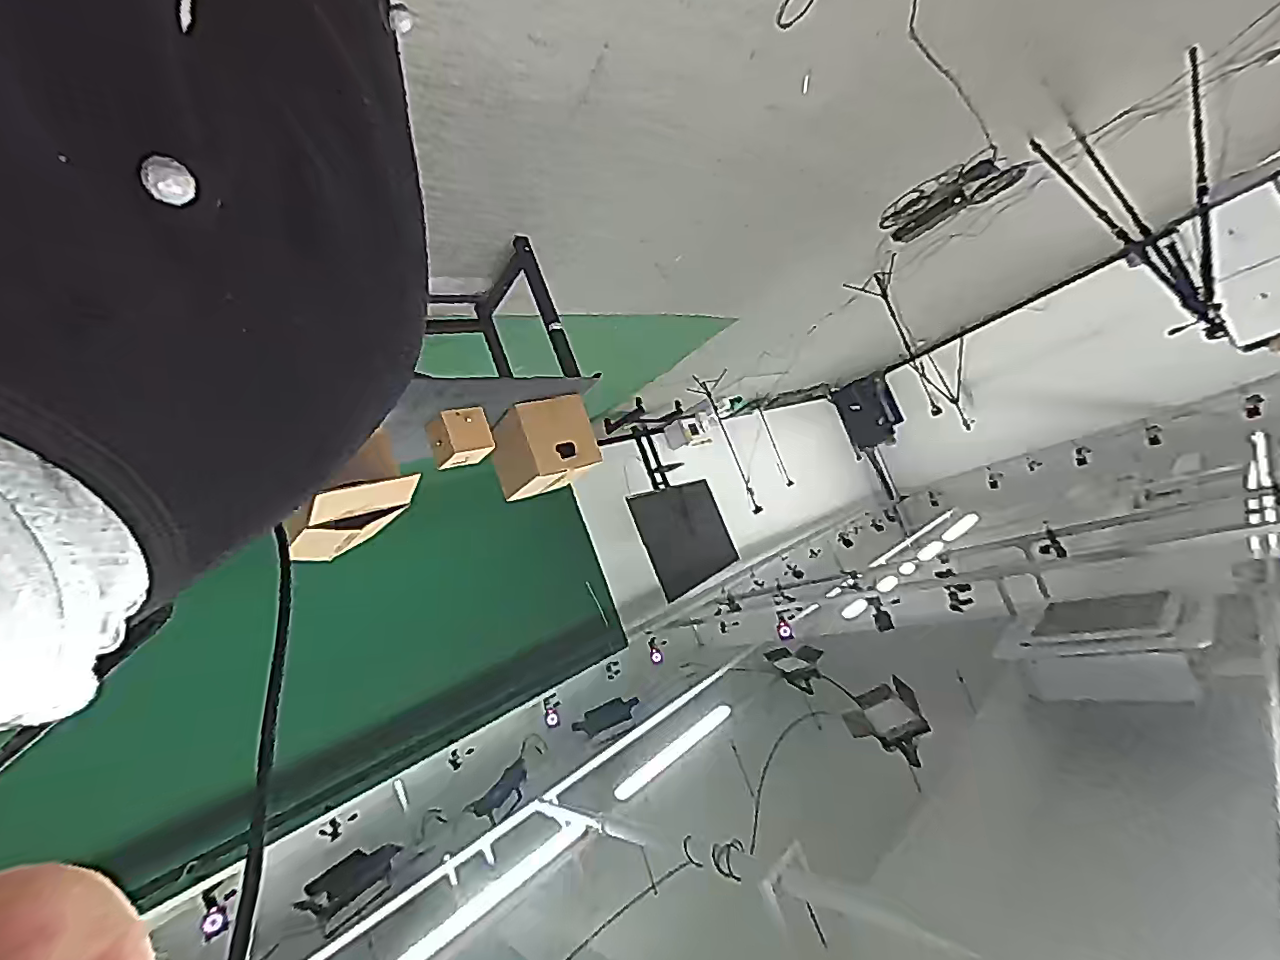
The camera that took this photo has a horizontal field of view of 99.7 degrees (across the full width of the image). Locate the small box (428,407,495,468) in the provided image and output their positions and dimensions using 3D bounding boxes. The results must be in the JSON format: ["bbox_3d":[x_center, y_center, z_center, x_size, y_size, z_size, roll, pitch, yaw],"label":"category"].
[{"bbox_3d":[-0.676,-0.163,2.032,0.168,0.176,0.179,-16,173,-44],"label":"small box"}]
